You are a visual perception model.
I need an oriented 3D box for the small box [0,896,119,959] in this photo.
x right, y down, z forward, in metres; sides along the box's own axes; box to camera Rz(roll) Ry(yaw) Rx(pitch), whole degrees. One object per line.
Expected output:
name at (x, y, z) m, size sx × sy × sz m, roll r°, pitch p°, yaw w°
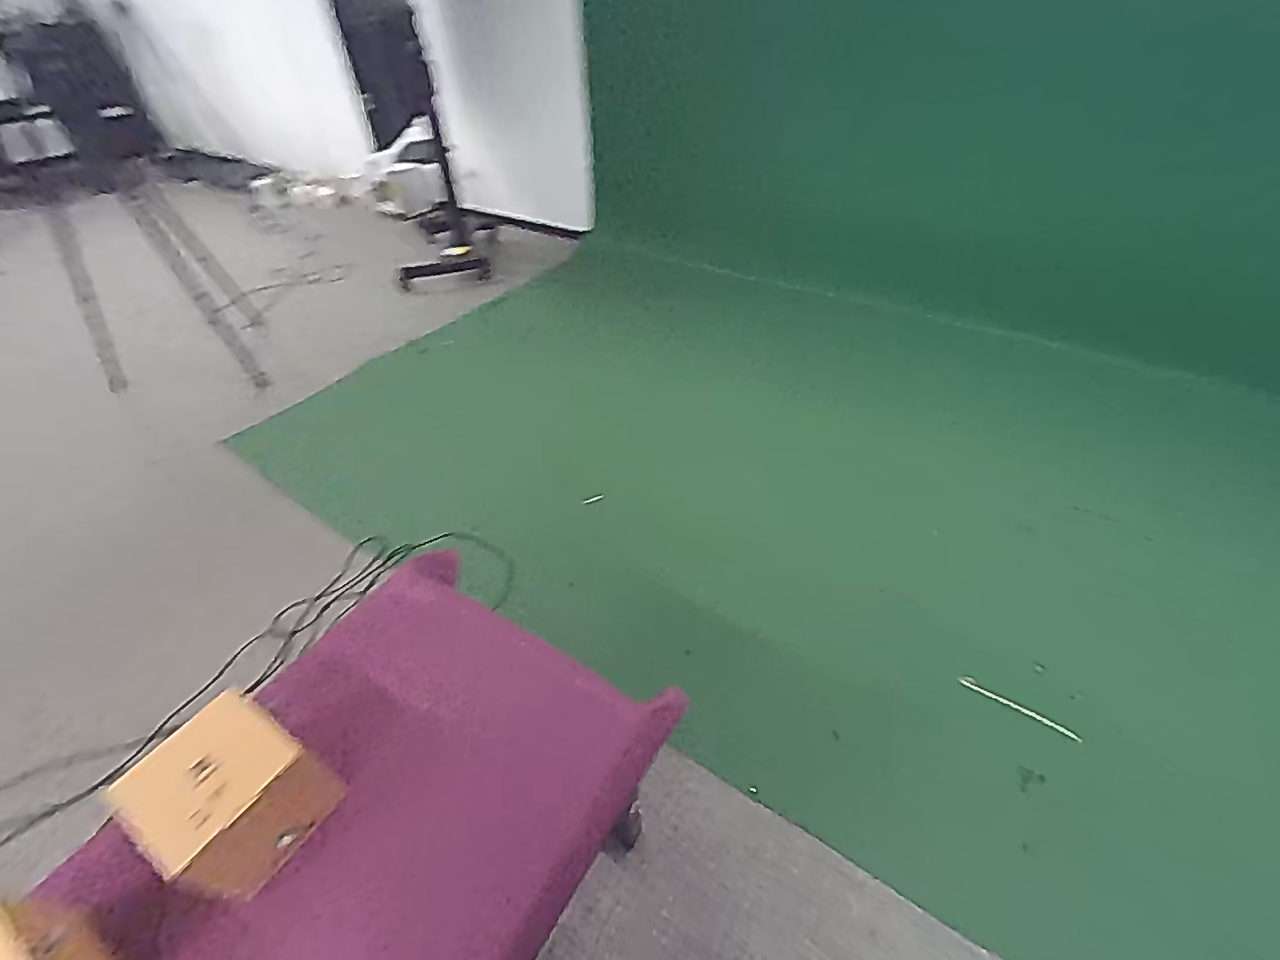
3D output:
small box at (-0.721, 0.617, 0.600) m, size 0.179 × 0.176 × 0.168 m, roll 22°, pitch 48°, yaw 22°

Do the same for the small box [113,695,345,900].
small box at (-0.566, 0.450, 0.766) m, size 0.179 × 0.176 × 0.168 m, roll 23°, pitch 49°, yaw 24°
